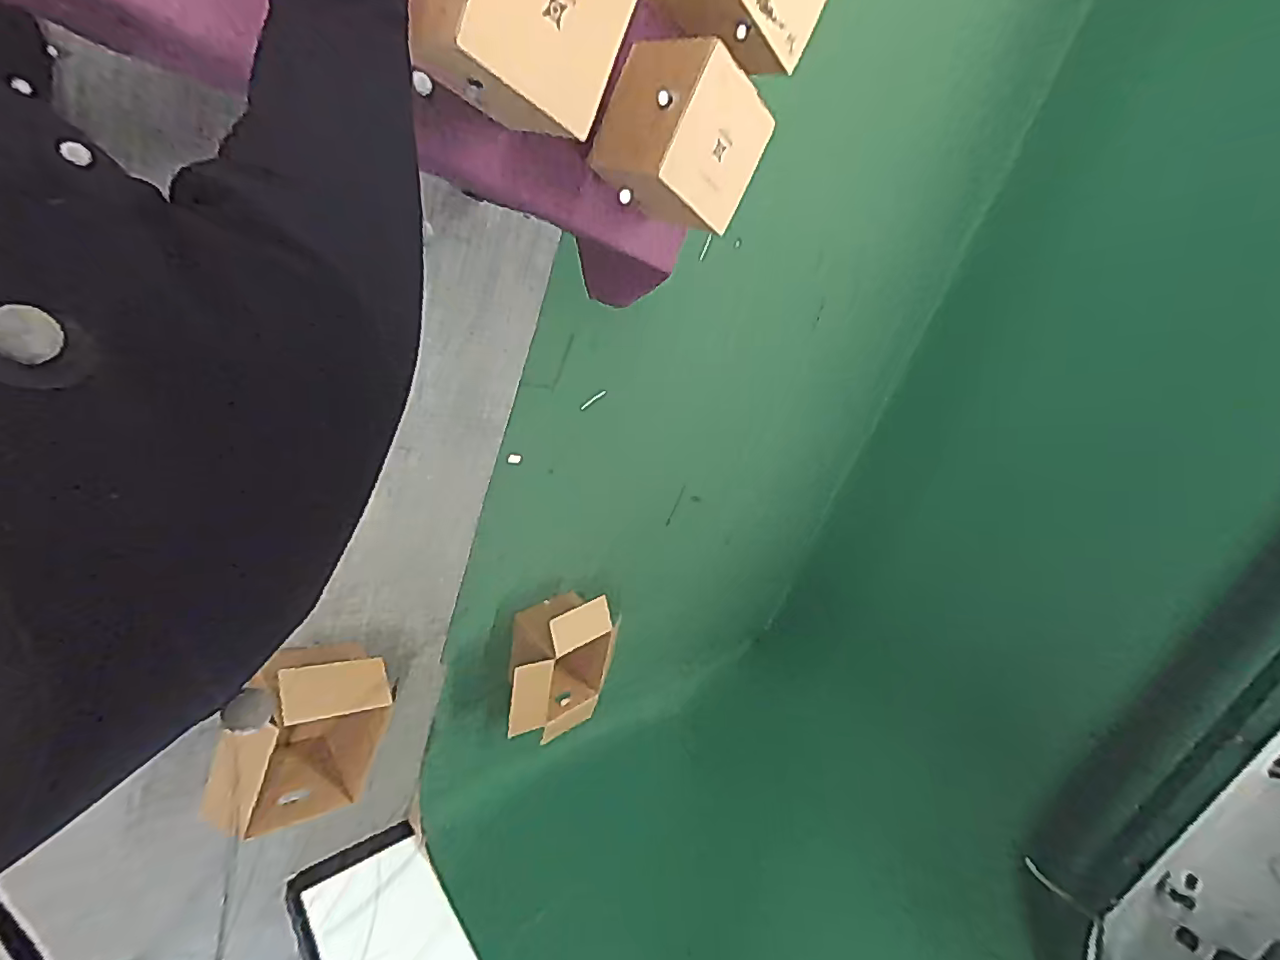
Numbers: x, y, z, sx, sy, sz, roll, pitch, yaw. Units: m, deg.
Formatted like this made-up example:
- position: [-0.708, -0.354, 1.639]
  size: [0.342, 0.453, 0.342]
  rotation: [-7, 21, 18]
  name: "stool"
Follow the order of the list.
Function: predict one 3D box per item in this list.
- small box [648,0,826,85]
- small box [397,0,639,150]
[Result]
- position: [0.139, -0.683, 0.737]
  size: [0.168, 0.176, 0.179]
  rotation: [10, 110, -51]
  name: "small box"
- position: [-0.136, -0.493, 0.579]
  size: [0.168, 0.176, 0.179]
  rotation: [7, 113, -50]
  name: "small box"
